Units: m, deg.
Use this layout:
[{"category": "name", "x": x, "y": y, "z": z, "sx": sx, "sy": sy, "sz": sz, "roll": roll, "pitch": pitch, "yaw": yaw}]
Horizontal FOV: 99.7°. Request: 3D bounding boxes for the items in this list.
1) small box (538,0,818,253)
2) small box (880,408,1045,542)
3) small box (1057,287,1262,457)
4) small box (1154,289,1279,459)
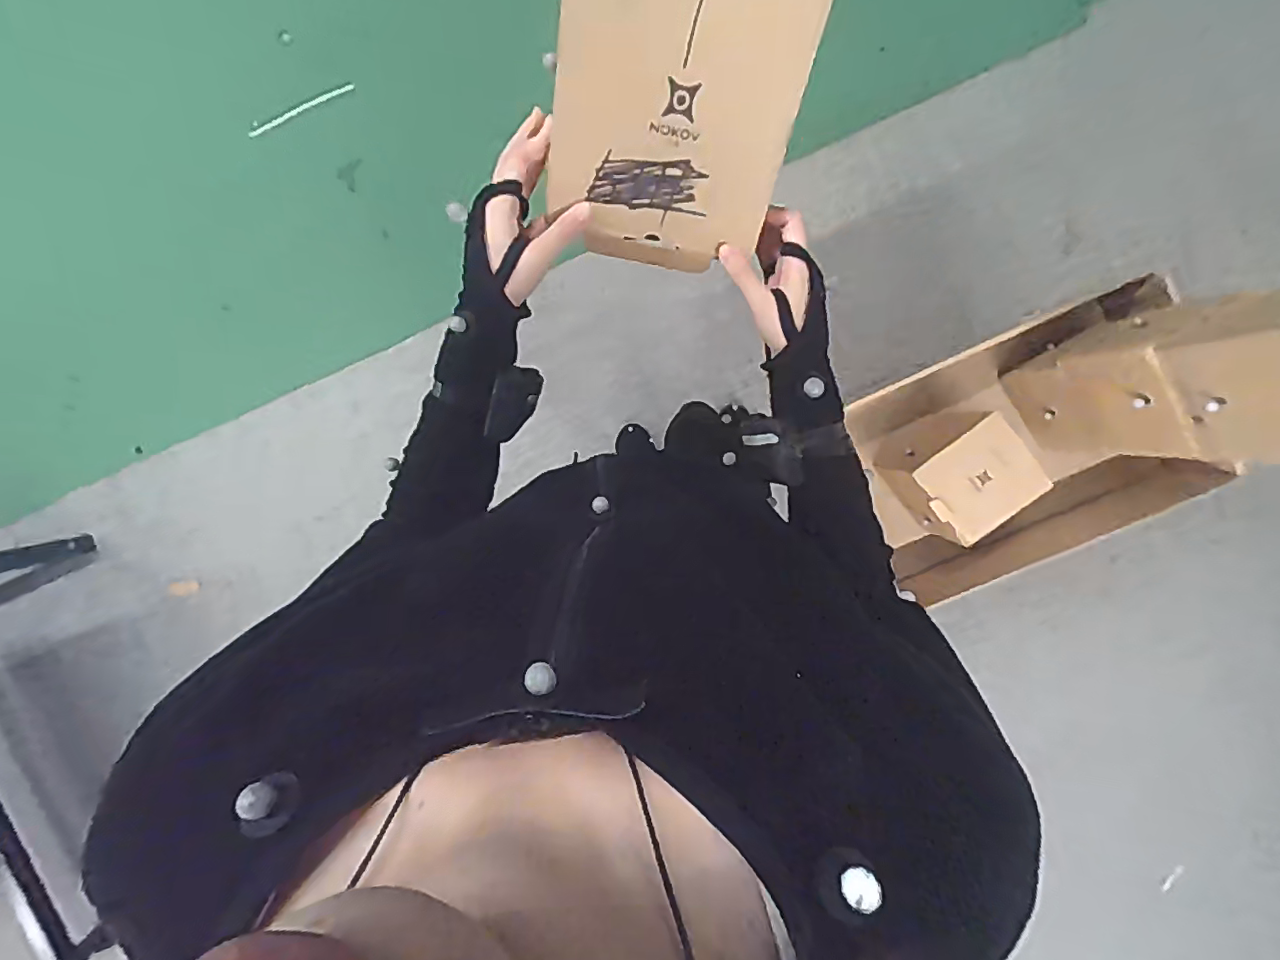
[{"category": "small box", "x": 0.015, "y": -0.310, "z": 0.432, "sx": 0.168, "sy": 0.176, "sz": 0.179, "roll": 6, "pitch": 129, "yaw": -10}, {"category": "small box", "x": 0.572, "y": -0.015, "z": 0.994, "sx": 0.179, "sy": 0.176, "sz": 0.168, "roll": -37, "pitch": 94, "yaw": 5}, {"category": "small box", "x": 0.785, "y": -0.152, "z": 0.805, "sx": 0.168, "sy": 0.176, "sz": 0.179, "roll": -29, "pitch": 93, "yaw": 5}, {"category": "small box", "x": 0.790, "y": -0.135, "z": 0.641, "sx": 0.179, "sy": 0.176, "sz": 0.168, "roll": -27, "pitch": 93, "yaw": 5}]
